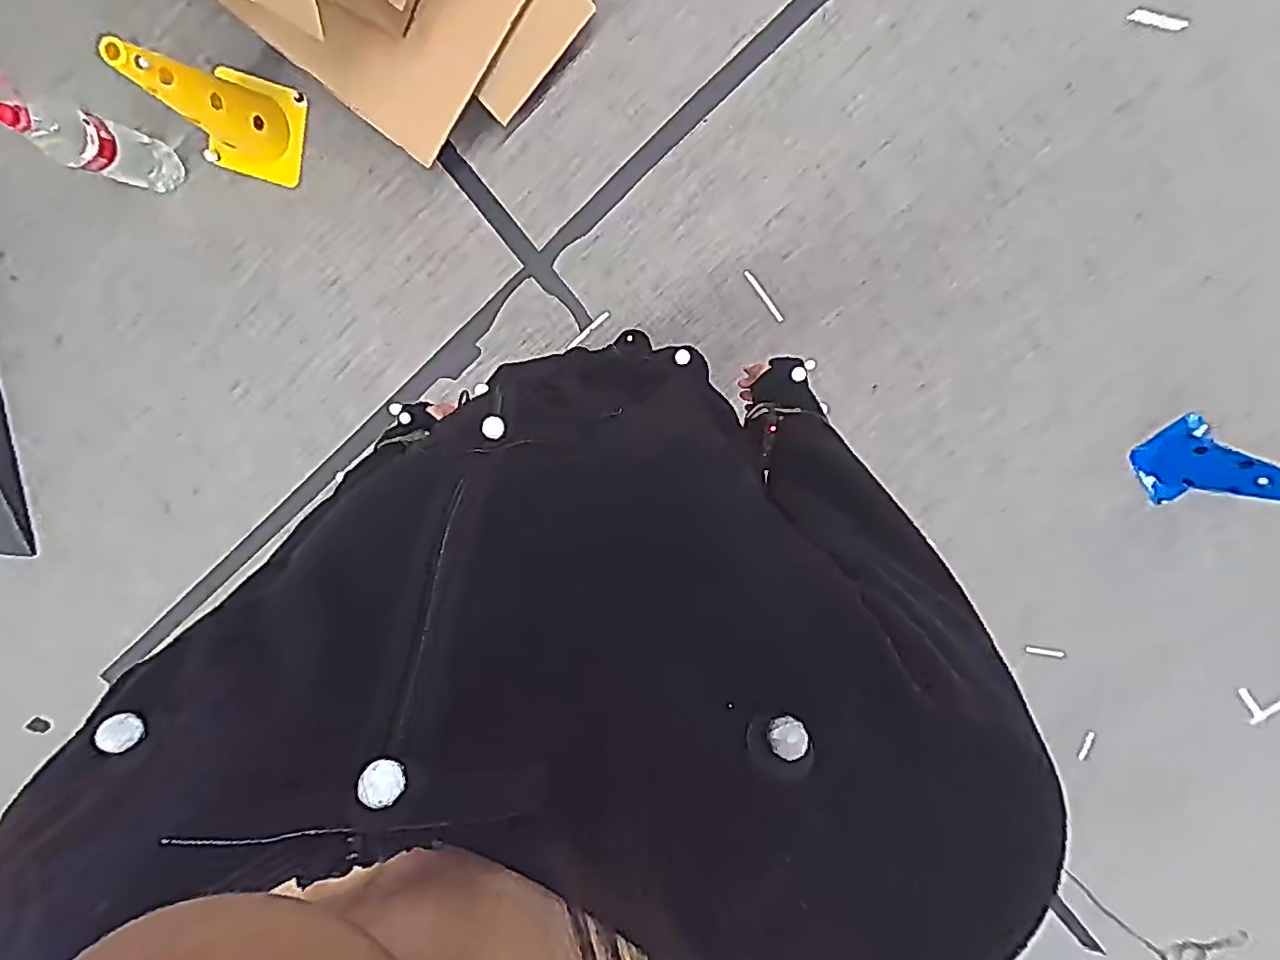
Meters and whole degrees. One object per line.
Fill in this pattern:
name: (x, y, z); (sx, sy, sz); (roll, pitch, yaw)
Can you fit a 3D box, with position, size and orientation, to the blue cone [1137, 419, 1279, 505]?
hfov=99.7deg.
blue cone: (1.454, -0.003, 1.301); (0.193, 0.380, 0.192); (-35, 104, 9)
